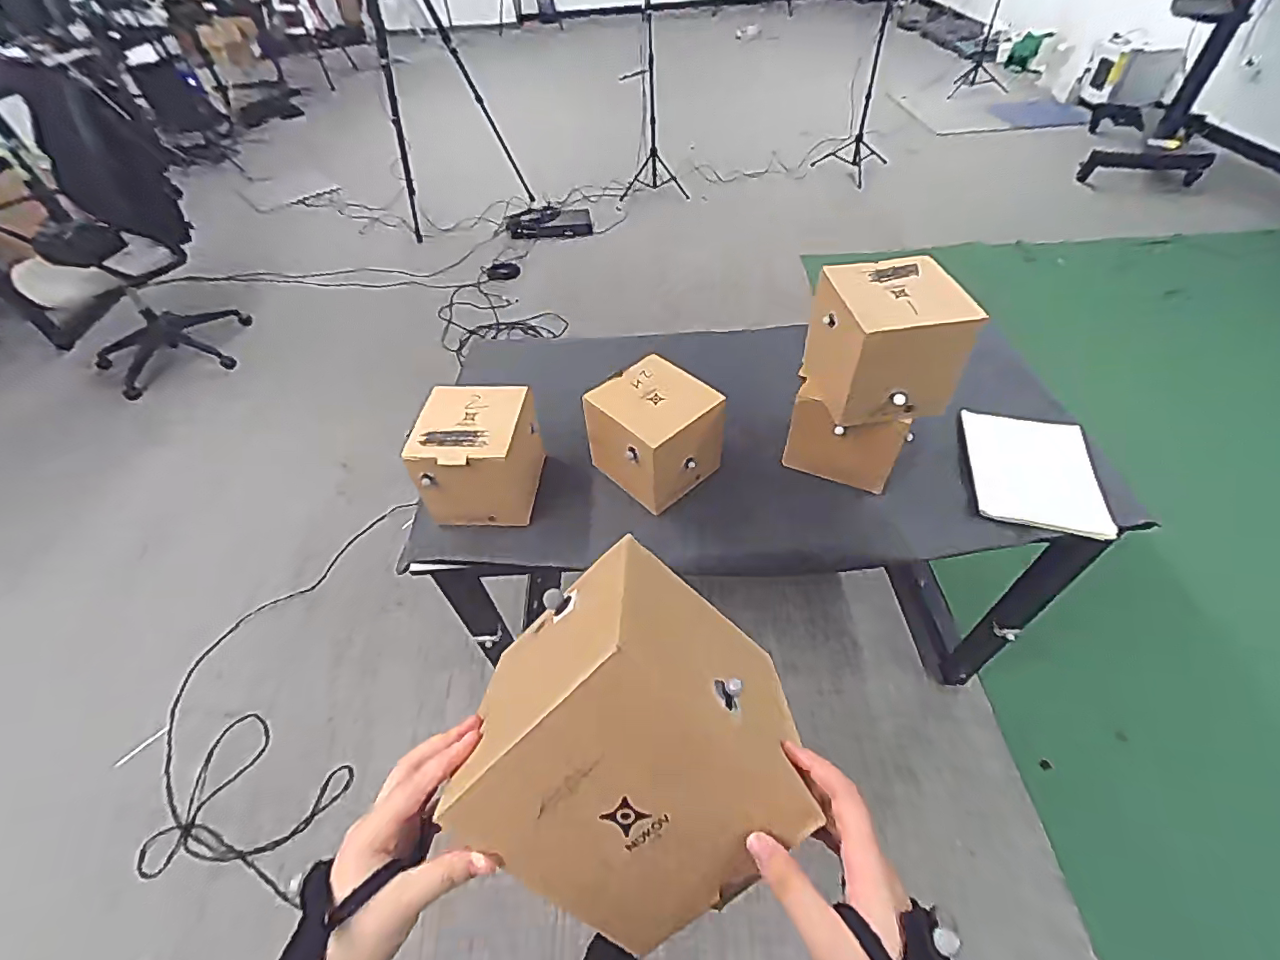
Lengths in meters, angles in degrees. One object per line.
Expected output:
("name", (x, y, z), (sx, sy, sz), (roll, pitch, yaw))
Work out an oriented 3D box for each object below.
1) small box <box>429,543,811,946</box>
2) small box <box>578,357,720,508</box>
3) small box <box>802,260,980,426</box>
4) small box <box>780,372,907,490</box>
("small box", (-0.011, 0.176, 0.403), (0.168, 0.179, 0.176), (-47, 10, 12))
("small box", (0.018, -0.076, 0.939), (0.168, 0.176, 0.179), (-36, 56, -25))
("small box", (0.355, -0.204, 0.810), (0.168, 0.176, 0.179), (-8, 49, -2))
("small box", (0.361, -0.106, 0.944), (0.179, 0.176, 0.168), (19, 52, 20))
